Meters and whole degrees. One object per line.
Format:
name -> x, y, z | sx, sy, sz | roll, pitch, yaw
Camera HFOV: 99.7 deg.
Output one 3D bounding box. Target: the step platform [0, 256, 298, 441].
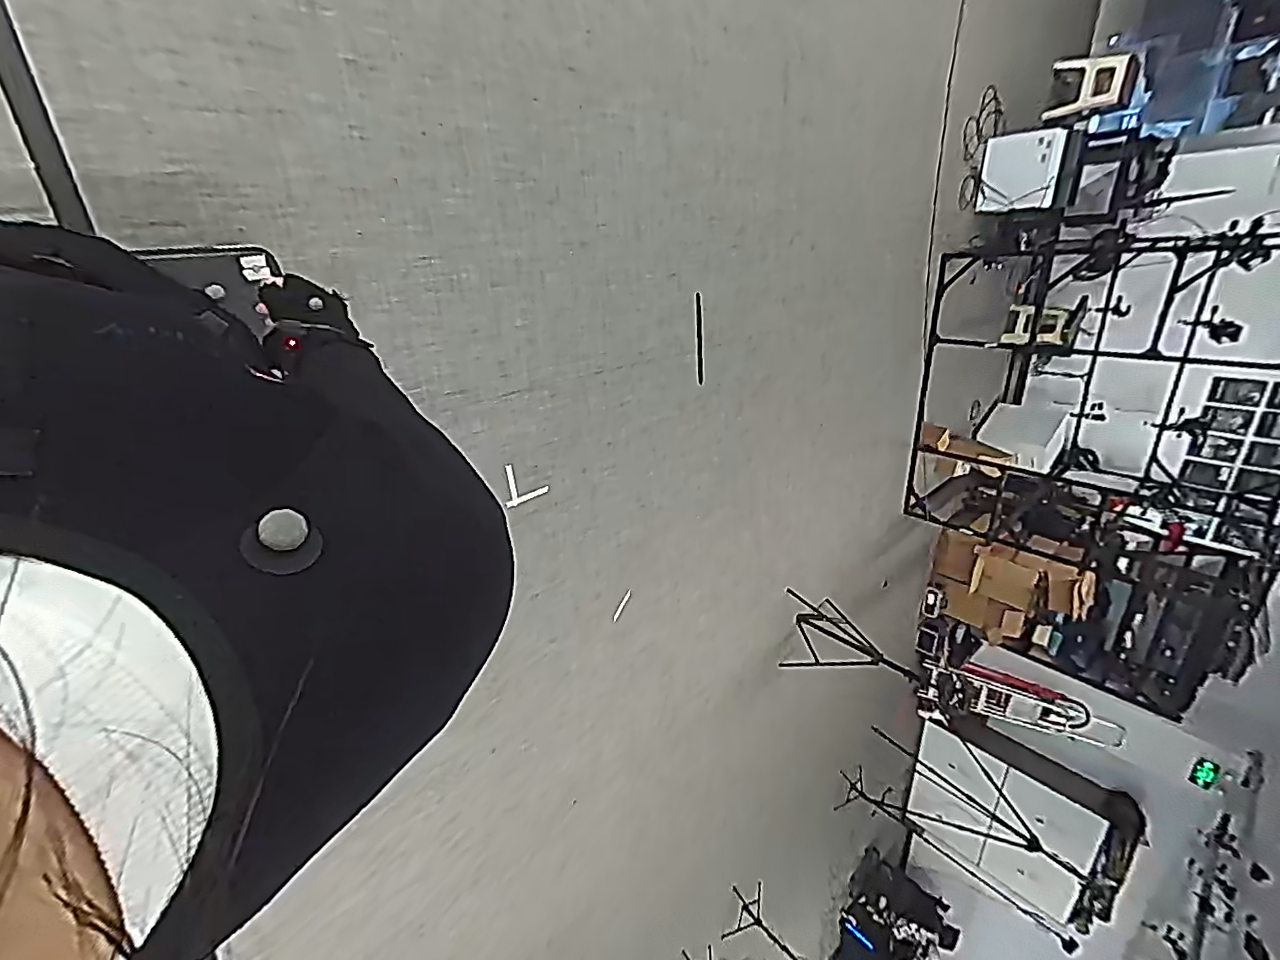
step platform -> -1.094, -0.274, 1.083 | 0.684, 0.204, 0.286 | -24, 121, -37
